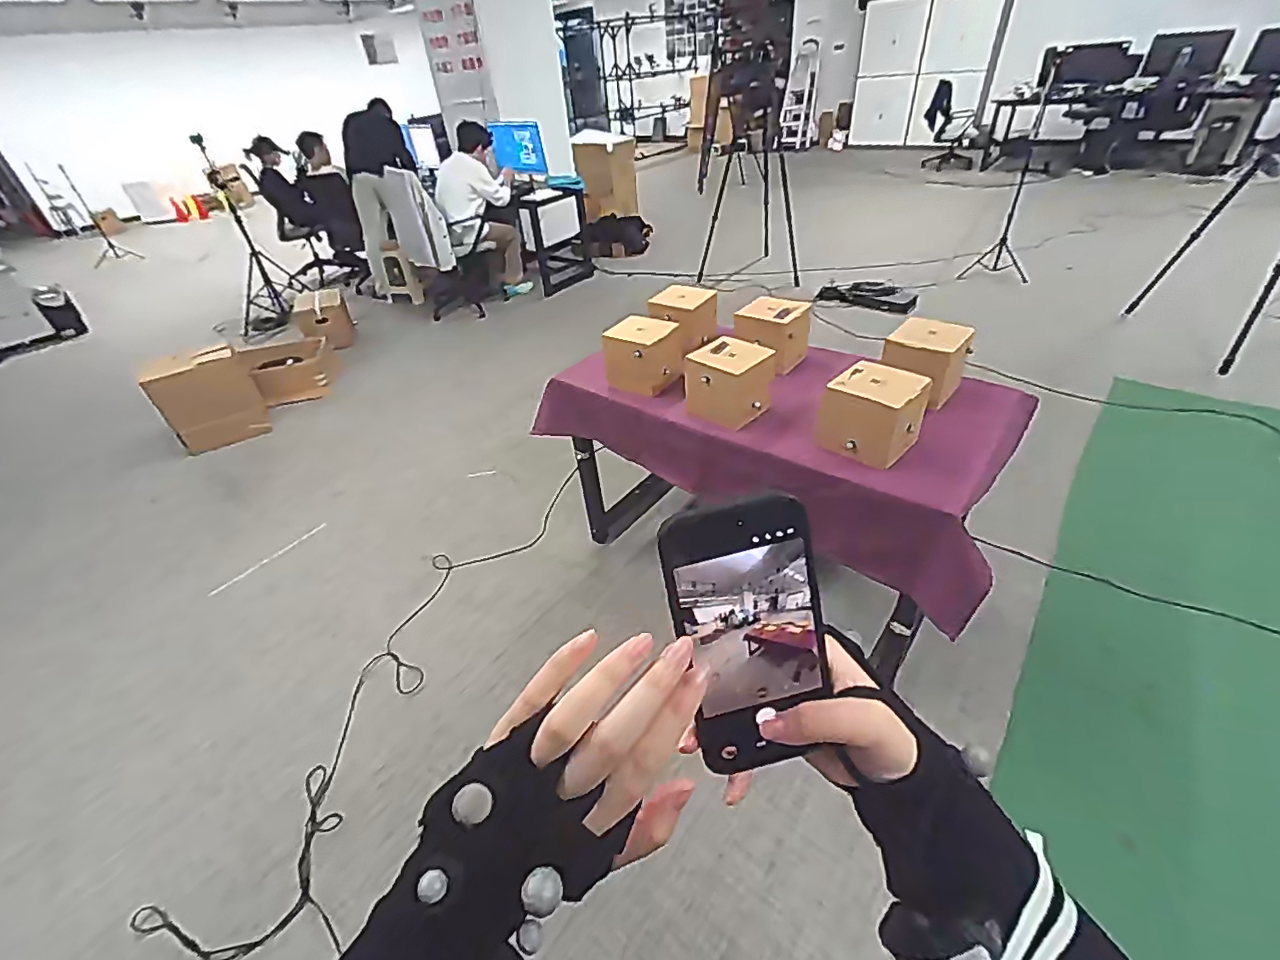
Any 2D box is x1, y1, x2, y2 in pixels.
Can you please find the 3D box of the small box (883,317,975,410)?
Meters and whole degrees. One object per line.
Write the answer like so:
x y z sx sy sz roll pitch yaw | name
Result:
0.761 -0.314 1.451 0.168 0.176 0.179 26 49 35 | small box

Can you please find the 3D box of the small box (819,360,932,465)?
0.550 -0.156 1.280 0.168 0.176 0.179 -33 46 -31 | small box

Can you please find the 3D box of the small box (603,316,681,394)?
0.011 -0.378 1.636 0.179 0.176 0.168 20 44 27 | small box

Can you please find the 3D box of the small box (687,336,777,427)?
0.244 -0.264 1.459 0.168 0.176 0.179 -34 47 -31 | small box
